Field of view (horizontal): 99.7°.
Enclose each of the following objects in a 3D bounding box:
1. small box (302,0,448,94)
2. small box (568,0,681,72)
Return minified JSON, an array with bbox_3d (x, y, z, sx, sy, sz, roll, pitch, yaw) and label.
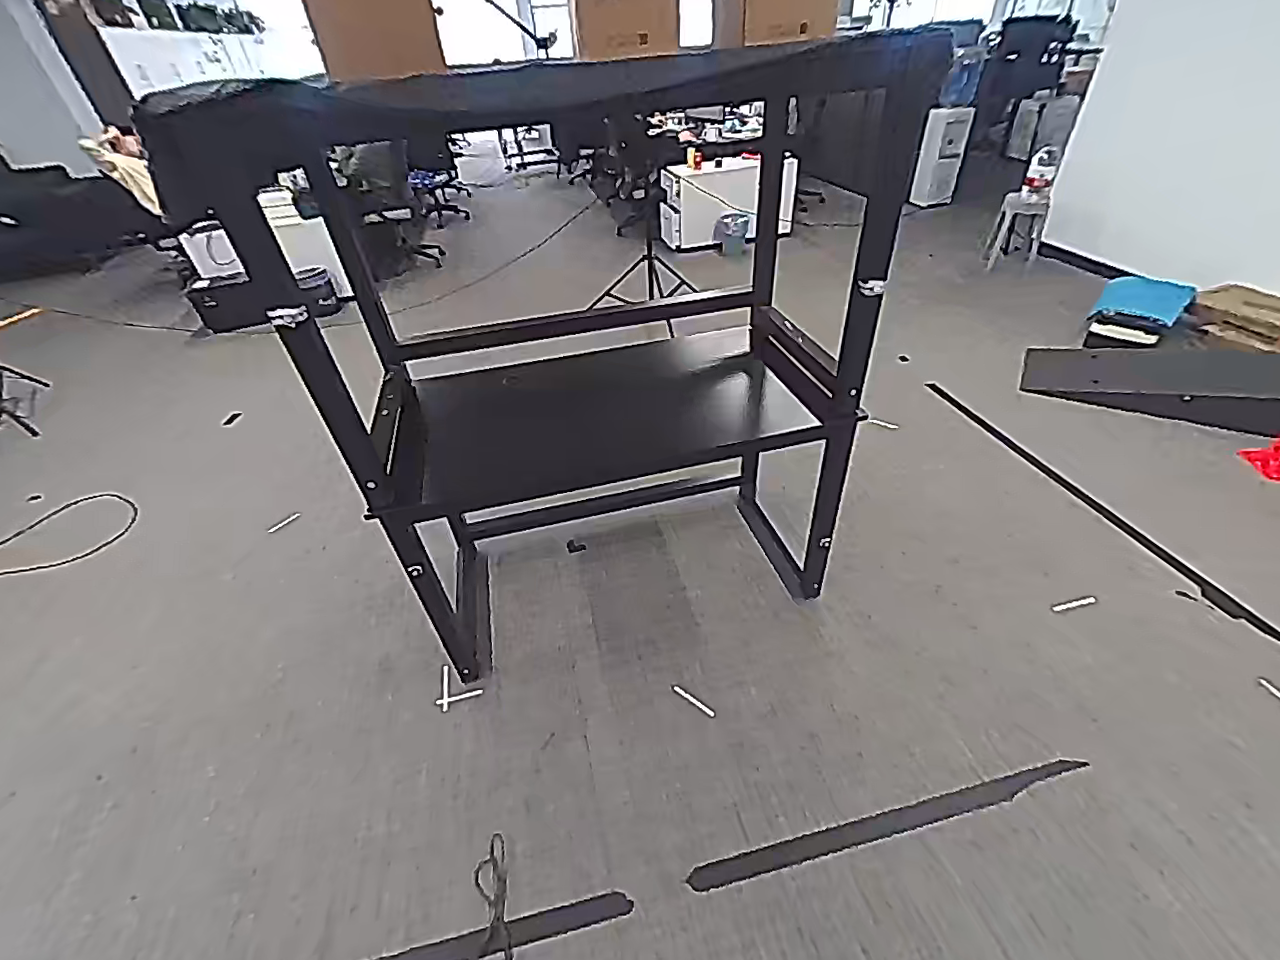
[{"bbox_3d":[-0.397,-0.700,0.820,0.179,0.176,0.168,-14,38,-11],"label":"small box"},{"bbox_3d":[-0.031,-0.788,0.892,0.168,0.176,0.179,-10,38,-5],"label":"small box"}]
